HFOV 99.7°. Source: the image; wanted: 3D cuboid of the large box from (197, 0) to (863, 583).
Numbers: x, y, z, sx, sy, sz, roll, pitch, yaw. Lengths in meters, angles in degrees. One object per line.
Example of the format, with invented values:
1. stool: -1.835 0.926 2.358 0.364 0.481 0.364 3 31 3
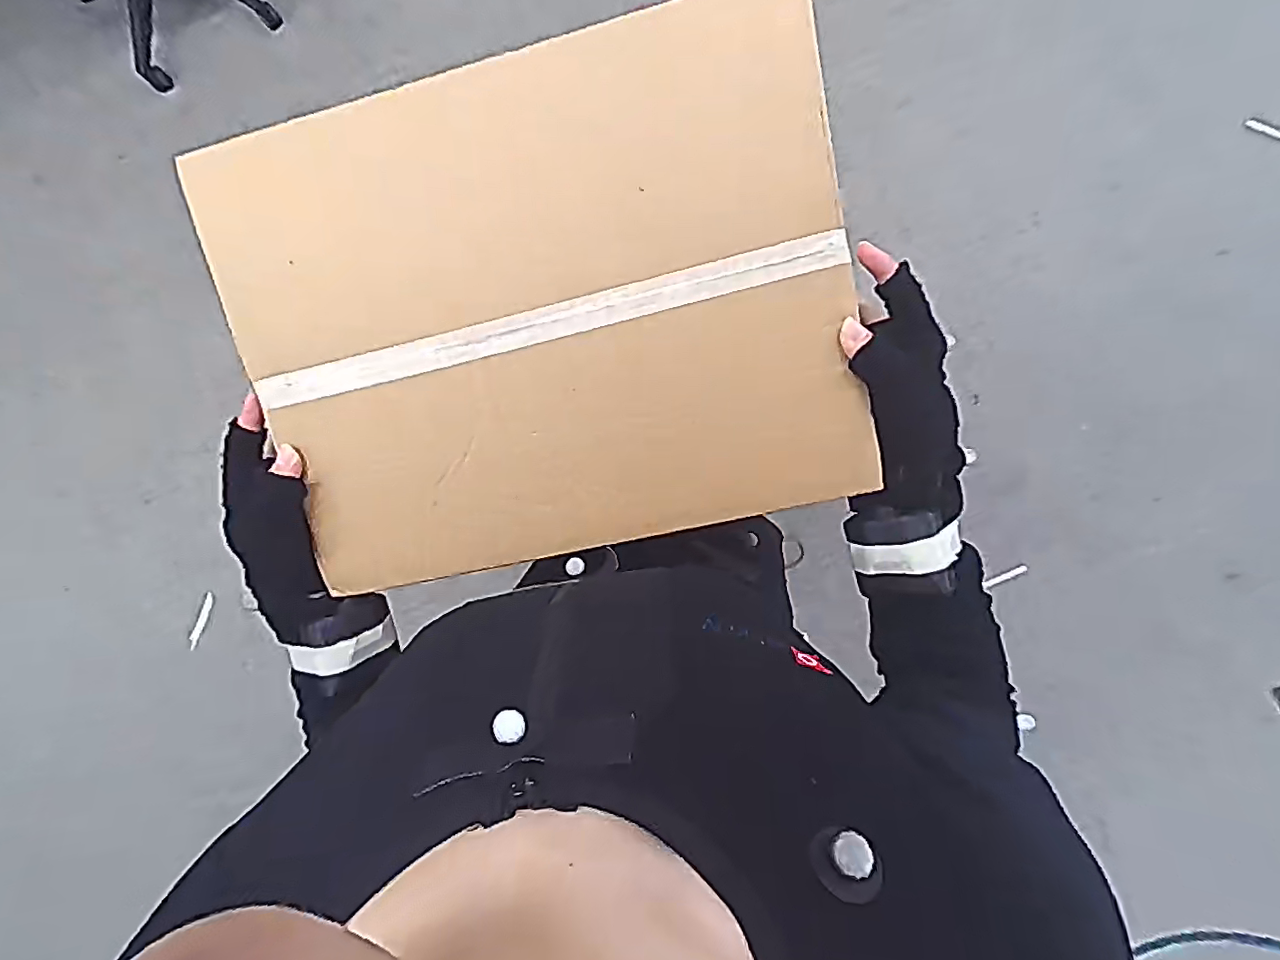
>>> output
1. large box: -0.060 -0.140 0.511 0.408 0.320 0.320 -12 100 7
